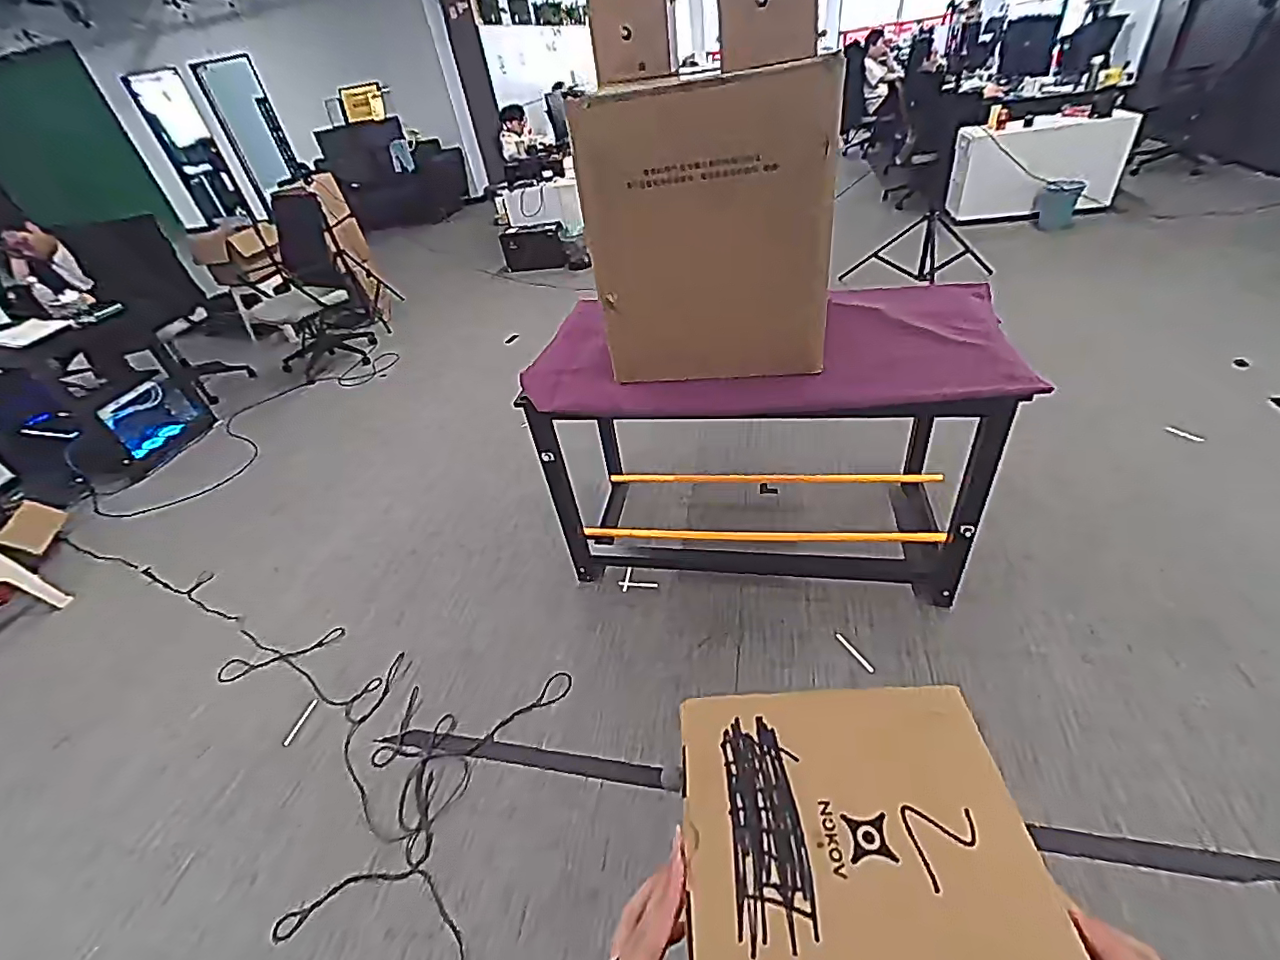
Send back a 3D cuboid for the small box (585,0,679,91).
[{"bbox_3d":[-0.008,-0.967,1.182,0.168,0.176,0.179,1,40,12],"label":"small box"}]
